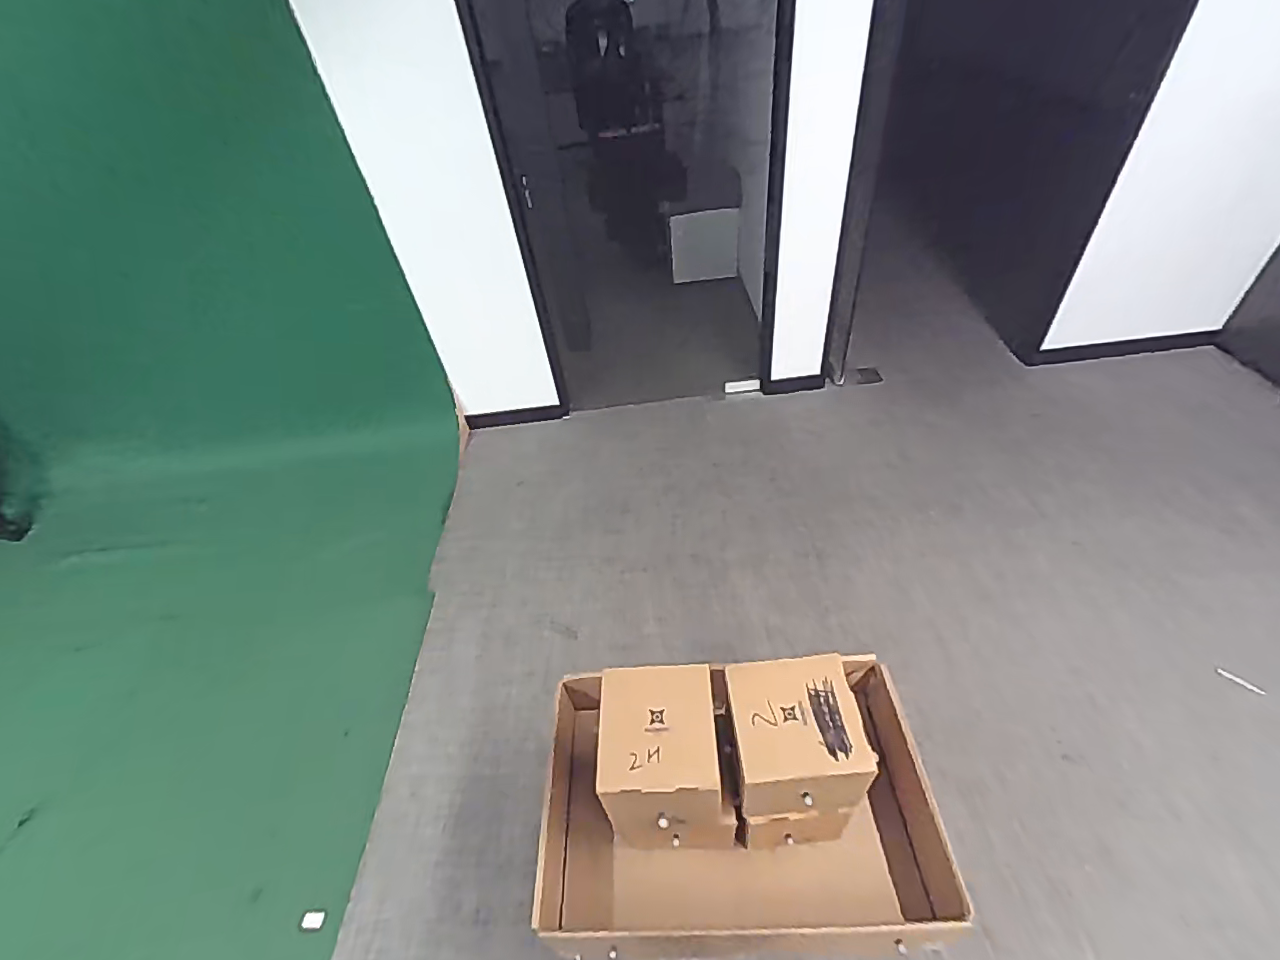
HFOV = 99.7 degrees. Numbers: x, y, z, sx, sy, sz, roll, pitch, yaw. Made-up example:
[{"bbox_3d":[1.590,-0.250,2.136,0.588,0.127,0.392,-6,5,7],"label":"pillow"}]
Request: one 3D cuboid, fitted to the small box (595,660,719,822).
[{"bbox_3d":[0.029,0.396,0.821,0.168,0.176,0.179,-4,44,4],"label":"small box"}]
